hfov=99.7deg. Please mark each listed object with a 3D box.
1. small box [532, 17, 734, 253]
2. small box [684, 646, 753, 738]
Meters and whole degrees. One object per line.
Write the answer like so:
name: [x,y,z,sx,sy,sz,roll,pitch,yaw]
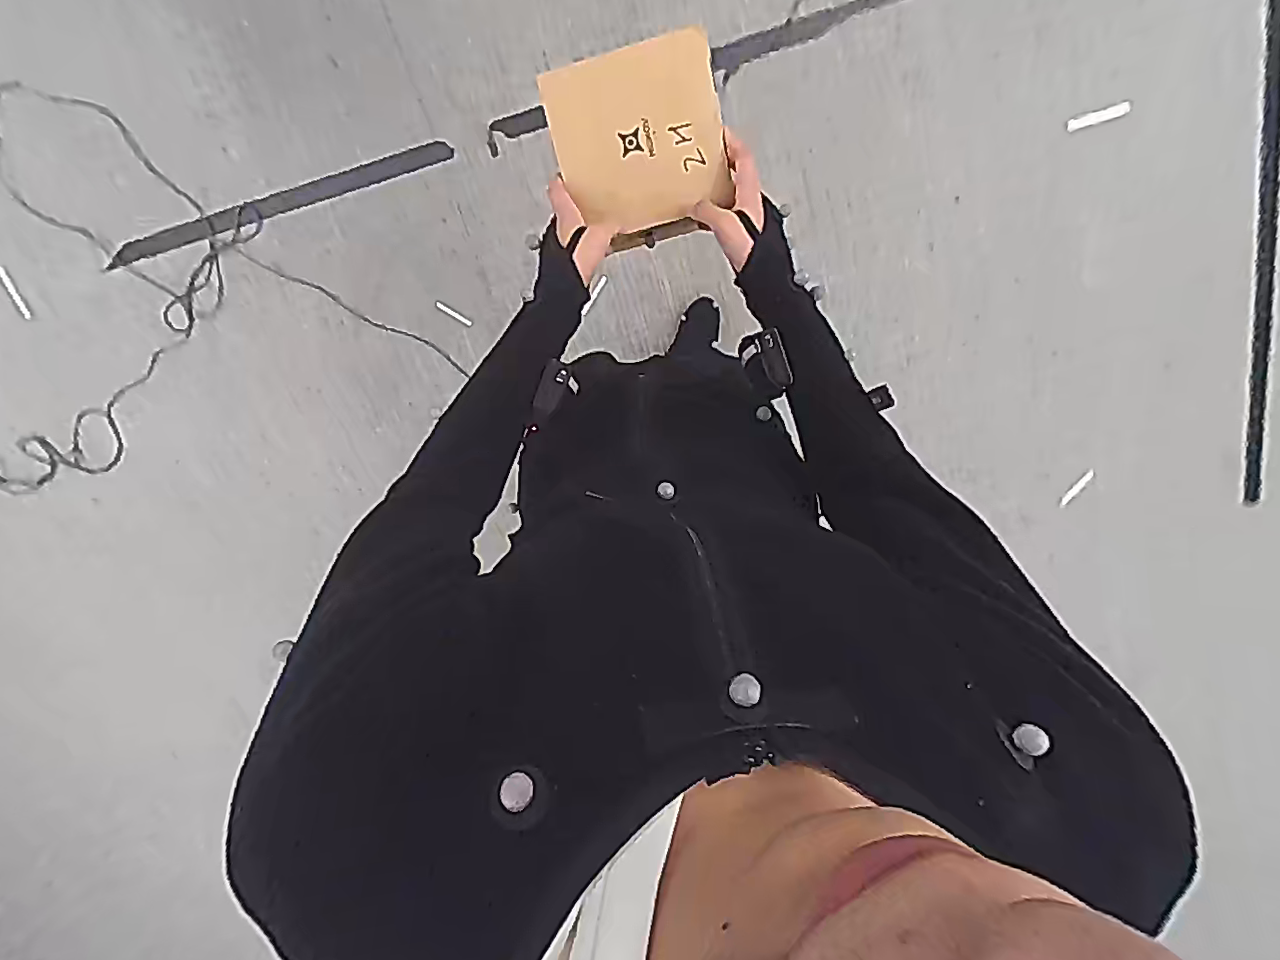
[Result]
small box: [-0.001,-0.370,0.620,0.179,0.176,0.168,-14,108,6]
small box: [0.230,0.627,1.610,0.168,0.176,0.179,-12,108,3]
